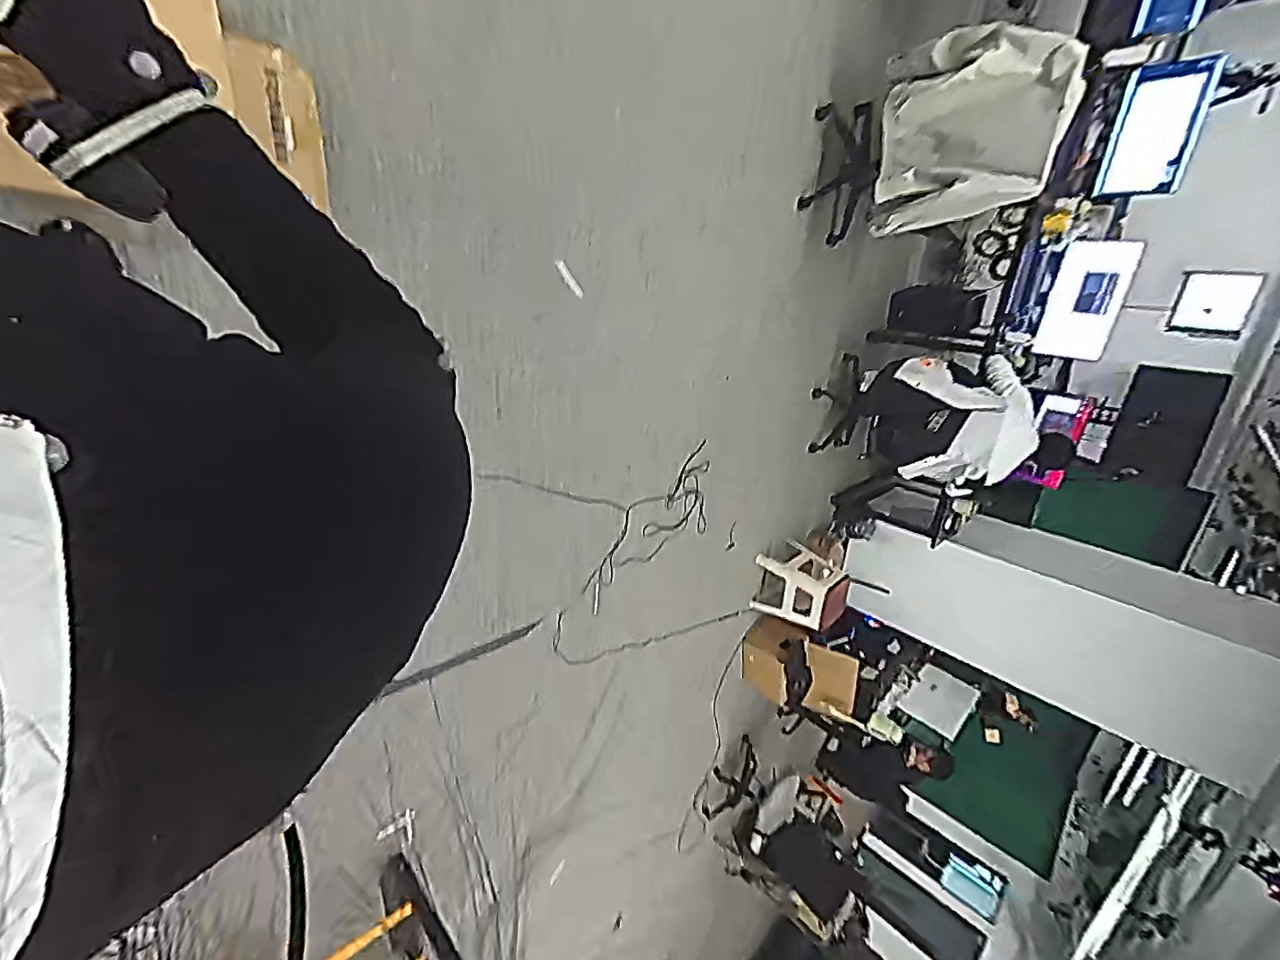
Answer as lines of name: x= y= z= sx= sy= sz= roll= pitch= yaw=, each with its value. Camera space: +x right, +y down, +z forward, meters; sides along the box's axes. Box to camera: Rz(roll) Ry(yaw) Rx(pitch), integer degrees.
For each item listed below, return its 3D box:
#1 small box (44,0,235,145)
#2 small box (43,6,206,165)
small box: x=-0.703 y=-0.596 z=0.761 sx=0.168 sy=0.176 sz=0.179 roll=-16 pitch=118 yaw=-42
small box: x=-0.825 y=-0.629 z=0.869 sx=0.168 sy=0.176 sz=0.179 roll=-11 pitch=115 yaw=-44
